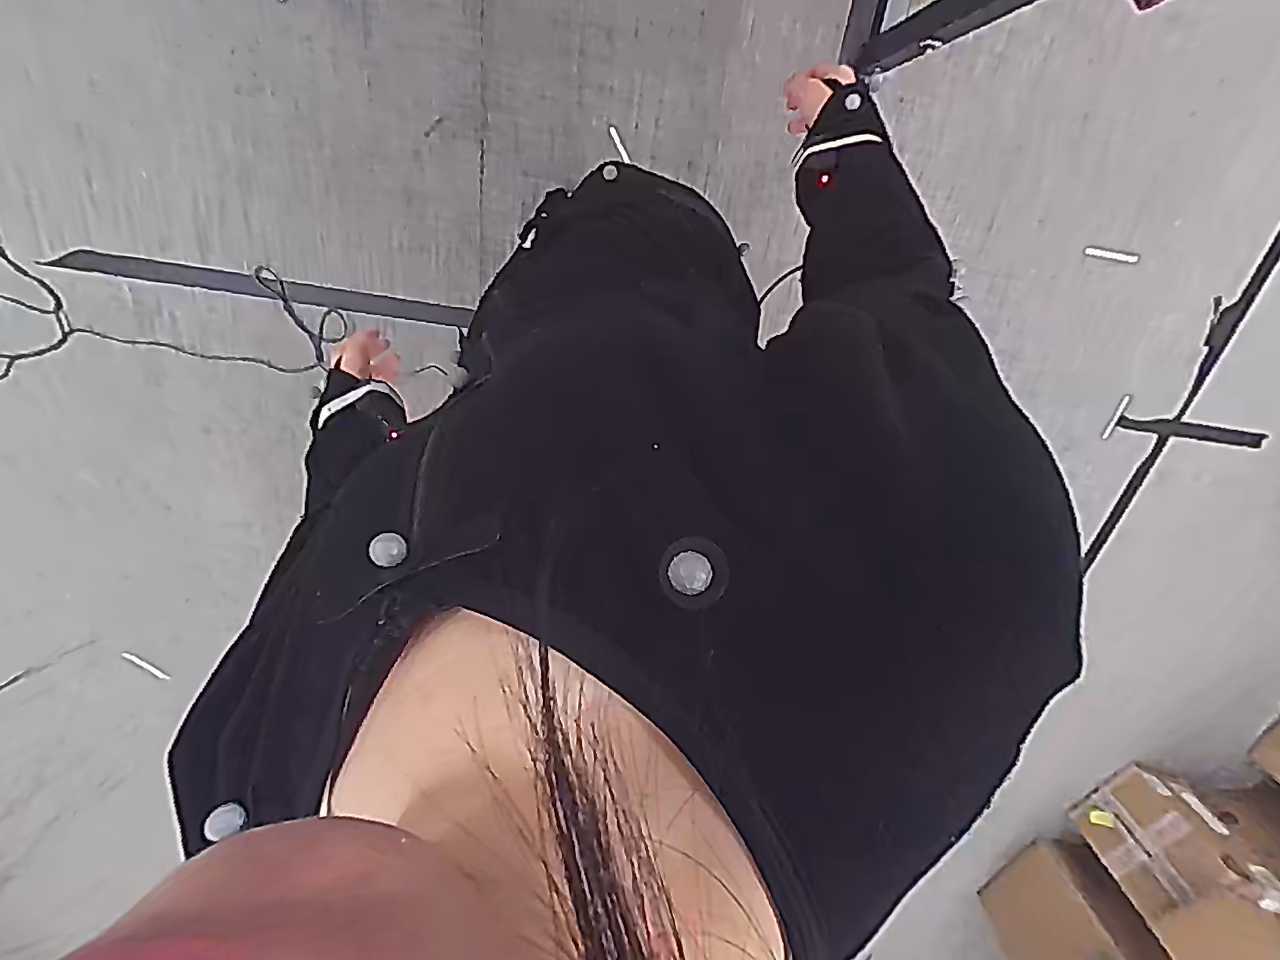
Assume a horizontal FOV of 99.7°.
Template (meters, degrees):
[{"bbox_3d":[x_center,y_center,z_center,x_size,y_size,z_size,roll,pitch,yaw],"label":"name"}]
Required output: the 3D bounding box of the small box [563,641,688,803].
[{"bbox_3d":[-0.030,0.379,0.860,0.168,0.176,0.179,6,117,-7],"label":"small box"}]

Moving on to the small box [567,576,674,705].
[{"bbox_3d":[-0.039,0.305,1.006,0.168,0.176,0.179,7,118,-7],"label":"small box"}]
